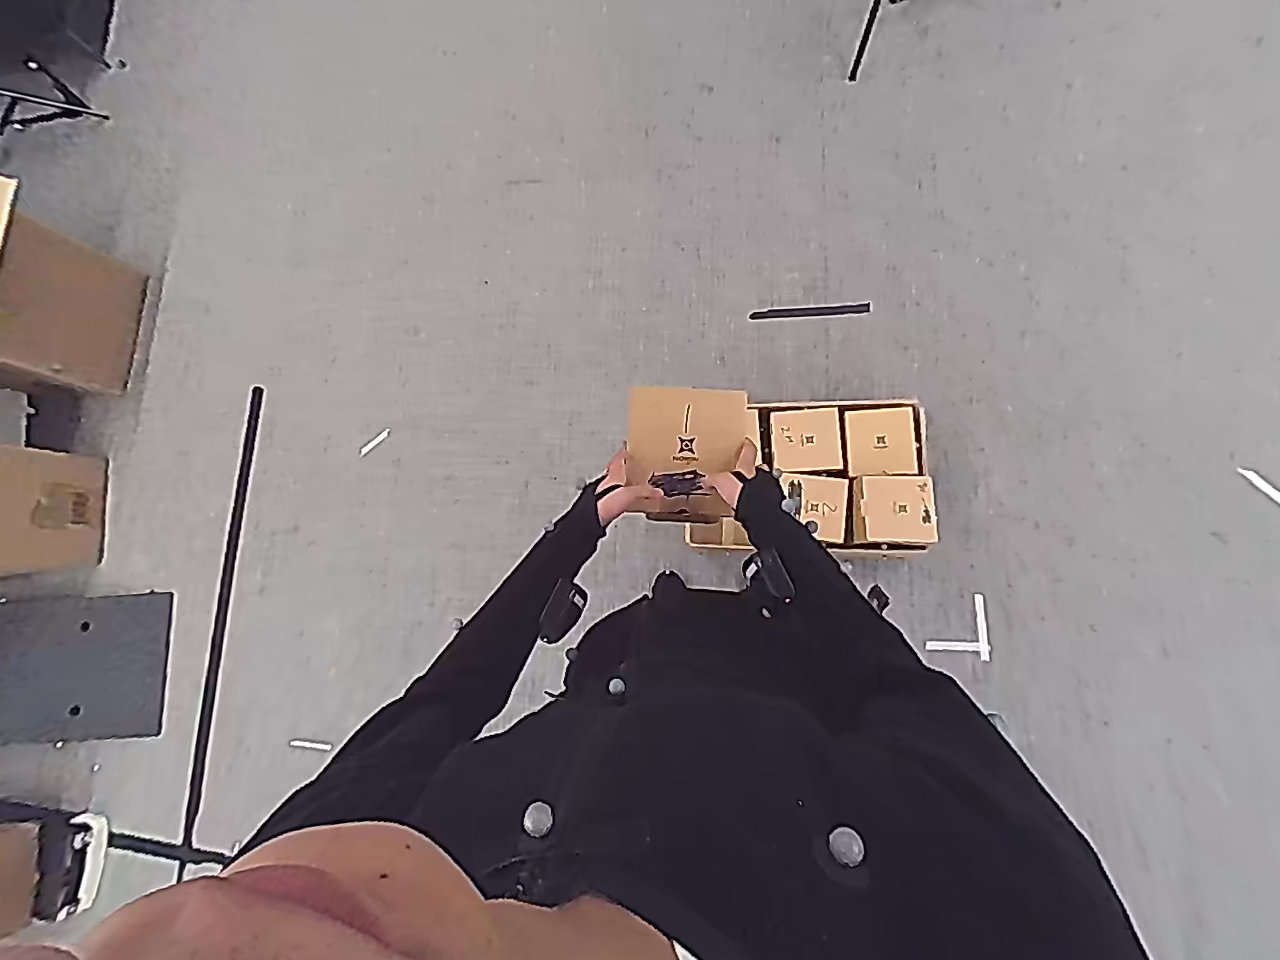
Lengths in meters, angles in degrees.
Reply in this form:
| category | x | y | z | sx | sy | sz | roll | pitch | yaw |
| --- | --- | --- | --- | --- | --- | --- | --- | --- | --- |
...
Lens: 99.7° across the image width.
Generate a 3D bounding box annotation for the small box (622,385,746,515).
| category | x | y | z | sx | sy | sz | roll | pitch | yaw |
| --- | --- | --- | --- | --- | --- | --- | --- | --- | --- |
| small box | 0.063 | -0.046 | 0.823 | 0.168 | 0.176 | 0.179 | 2 | 93 | 1 |
